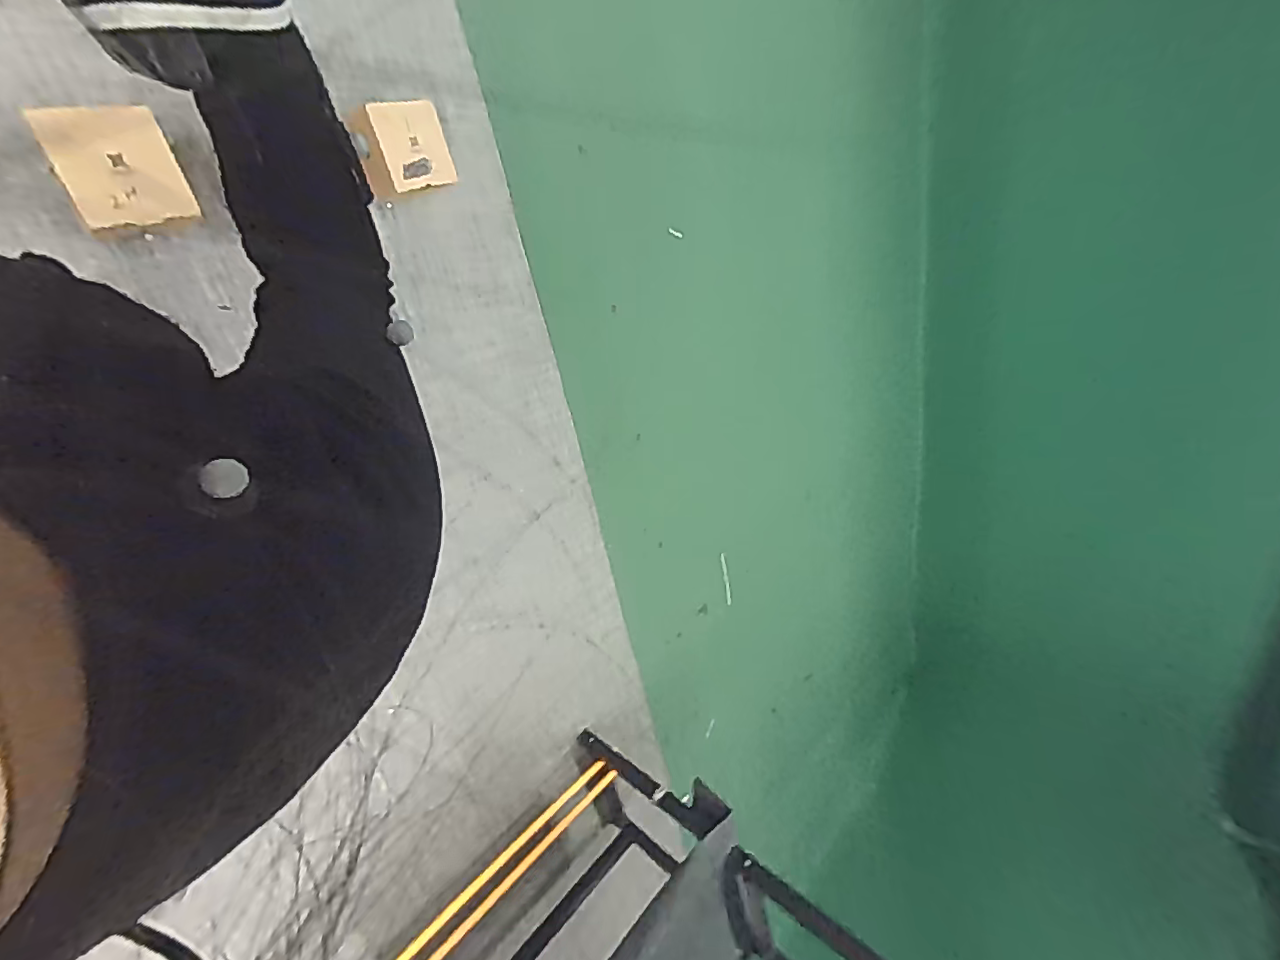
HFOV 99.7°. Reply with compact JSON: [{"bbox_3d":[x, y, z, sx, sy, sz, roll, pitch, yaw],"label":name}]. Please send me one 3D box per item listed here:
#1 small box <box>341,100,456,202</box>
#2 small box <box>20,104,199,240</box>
[{"bbox_3d":[-0.574,-0.776,1.286,0.168,0.176,0.179,-34,122,-36],"label":"small box"},{"bbox_3d":[-0.938,-0.544,0.967,0.168,0.176,0.179,-32,121,-35],"label":"small box"}]
